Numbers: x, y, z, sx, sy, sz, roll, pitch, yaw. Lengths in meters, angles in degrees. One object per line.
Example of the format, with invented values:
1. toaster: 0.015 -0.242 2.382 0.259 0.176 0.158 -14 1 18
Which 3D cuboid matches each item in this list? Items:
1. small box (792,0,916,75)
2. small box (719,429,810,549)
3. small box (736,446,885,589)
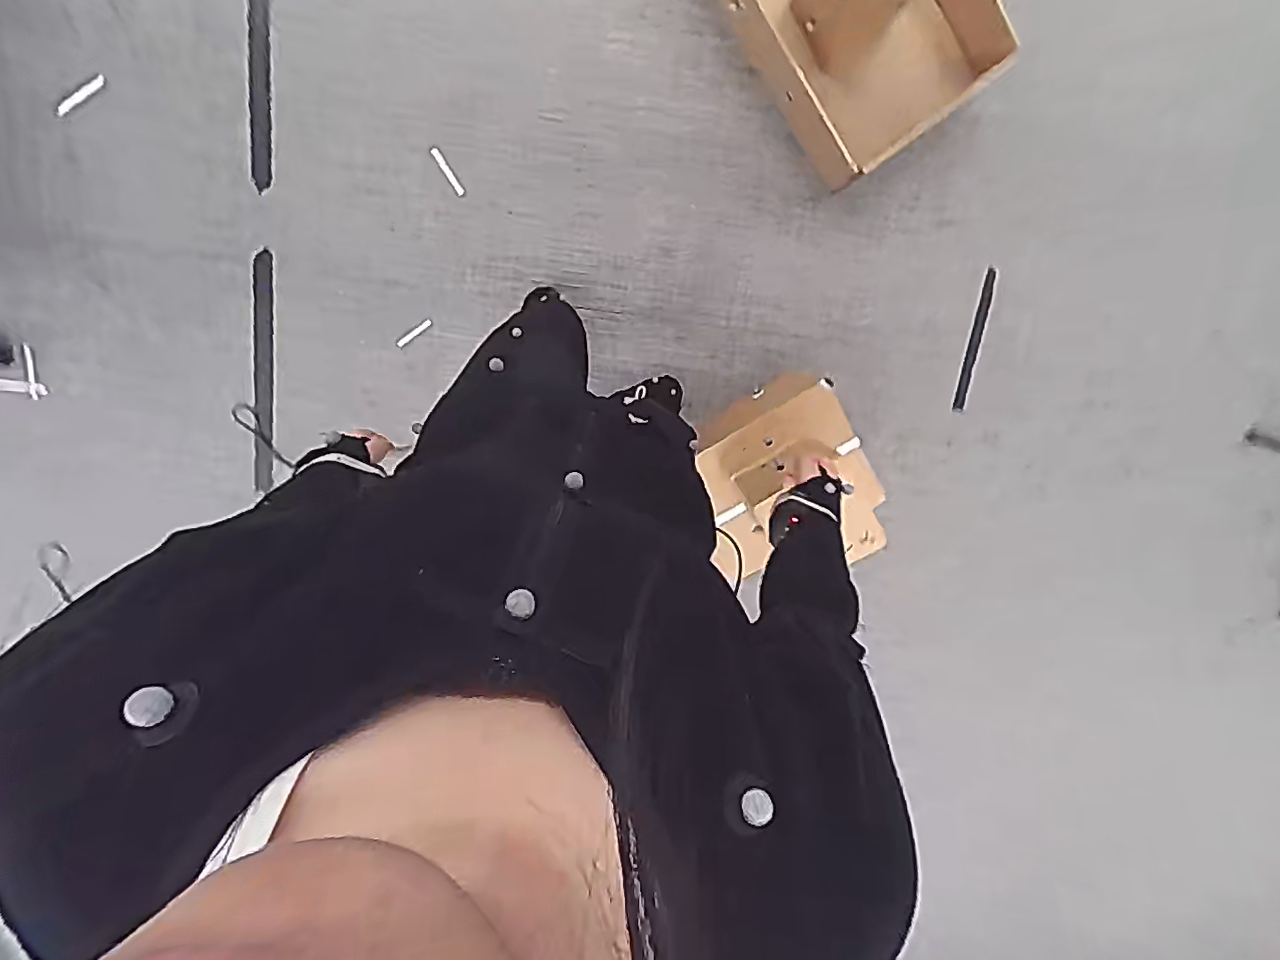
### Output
1. small box: 0.447 -1.009 1.129 0.179 0.176 0.168 -32 101 6
2. small box: 0.277 0.009 1.105 0.168 0.176 0.179 -30 102 7
3. small box: 0.286 0.053 0.947 0.168 0.176 0.179 -30 102 7
